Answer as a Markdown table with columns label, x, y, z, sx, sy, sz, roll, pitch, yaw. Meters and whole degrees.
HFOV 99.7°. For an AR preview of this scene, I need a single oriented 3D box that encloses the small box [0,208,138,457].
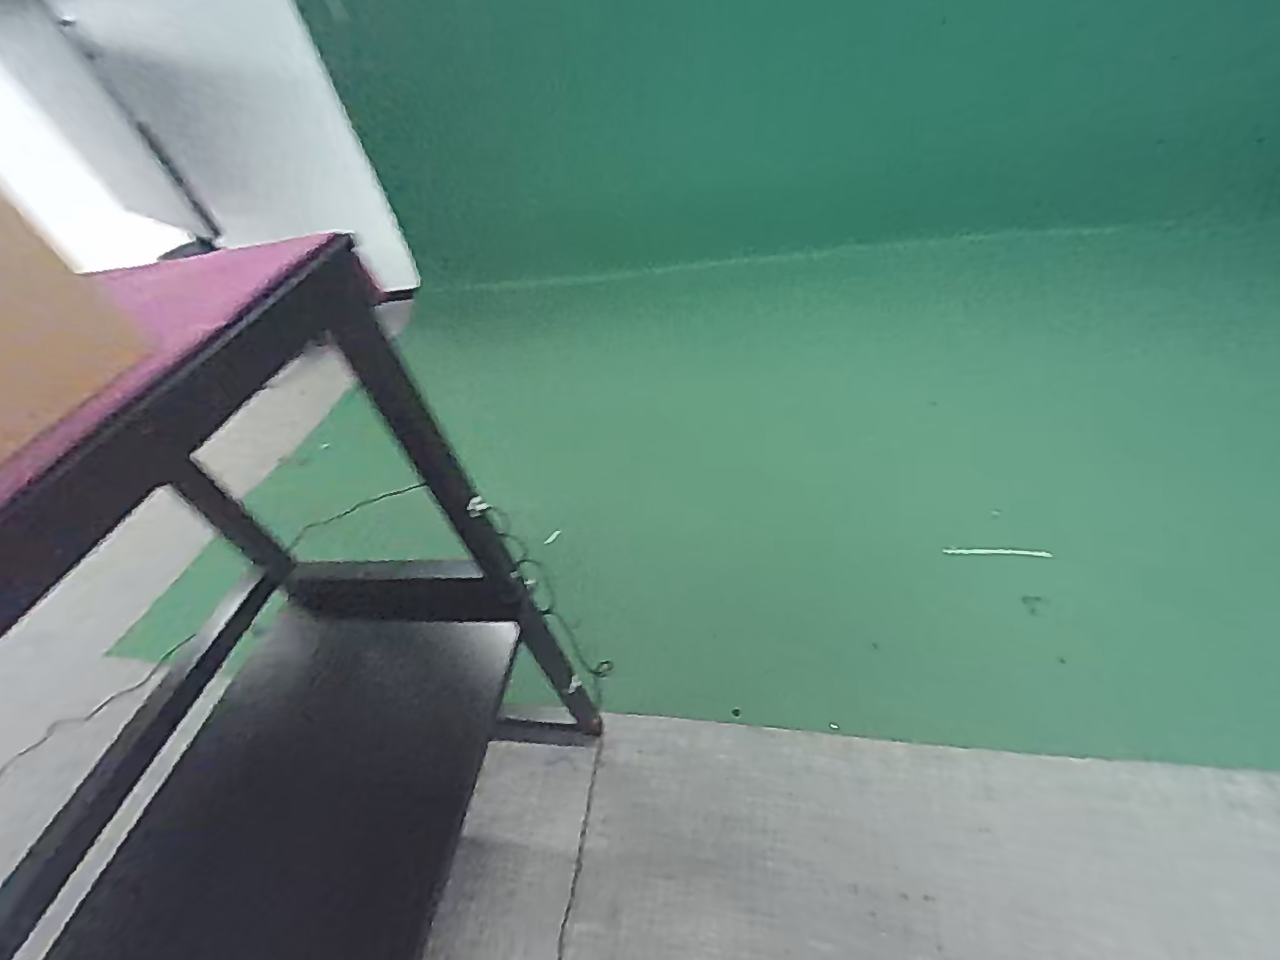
| label | x | y | z | sx | sy | sz | roll | pitch | yaw |
| --- | --- | --- | --- | --- | --- | --- | --- | --- | --- |
| small box | -0.556 | -0.112 | 0.404 | 0.168 | 0.176 | 0.179 | -1 | 45 | 13 |
